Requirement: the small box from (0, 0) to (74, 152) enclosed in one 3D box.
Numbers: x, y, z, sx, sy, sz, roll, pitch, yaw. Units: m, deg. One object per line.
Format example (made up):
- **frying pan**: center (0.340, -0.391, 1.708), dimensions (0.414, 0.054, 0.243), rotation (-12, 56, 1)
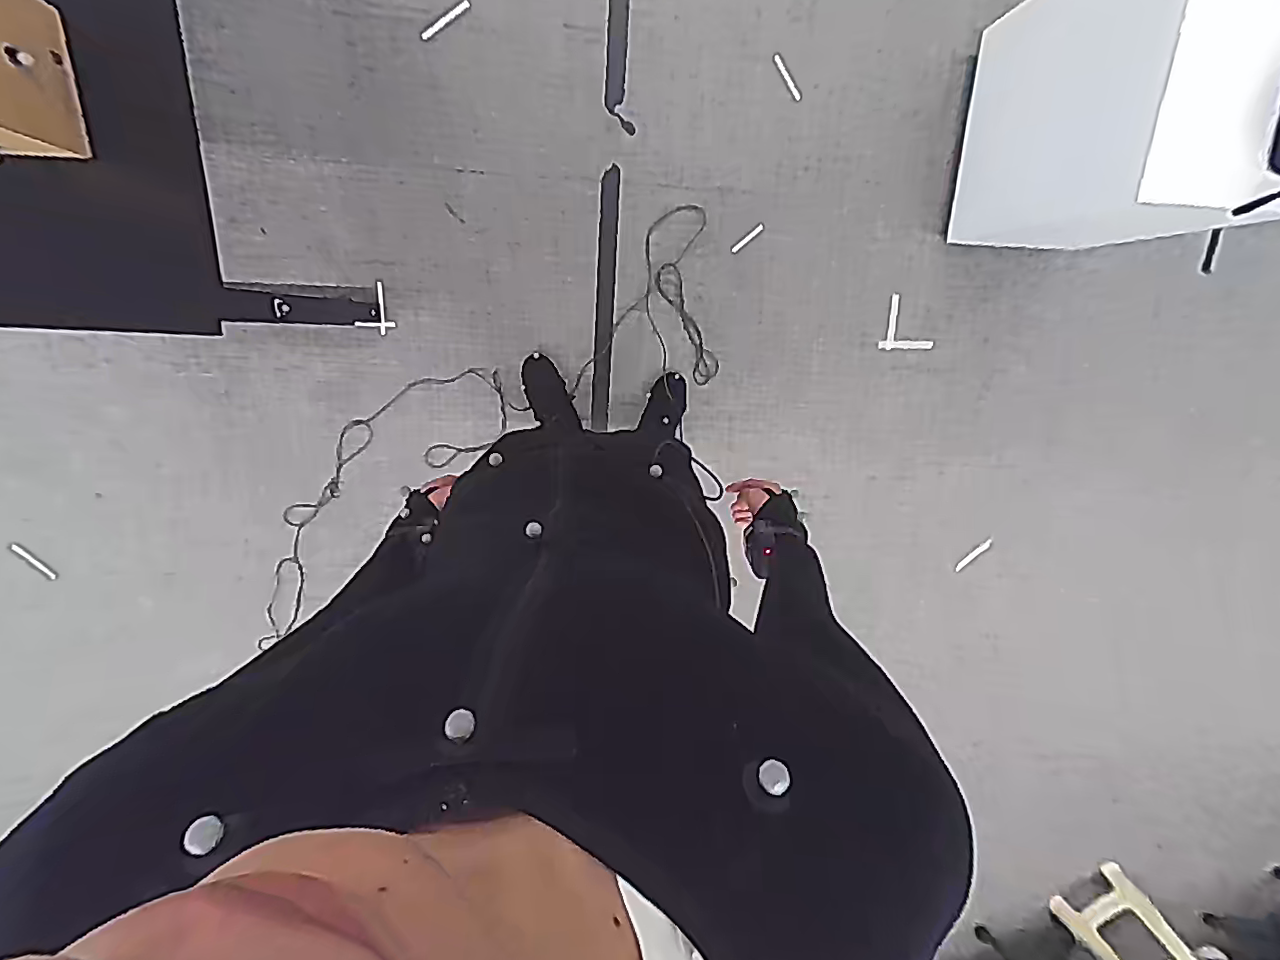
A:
- **small box**: center (-0.784, -0.474, 0.588), dimensions (0.179, 0.176, 0.168), rotation (-1, 106, -6)
